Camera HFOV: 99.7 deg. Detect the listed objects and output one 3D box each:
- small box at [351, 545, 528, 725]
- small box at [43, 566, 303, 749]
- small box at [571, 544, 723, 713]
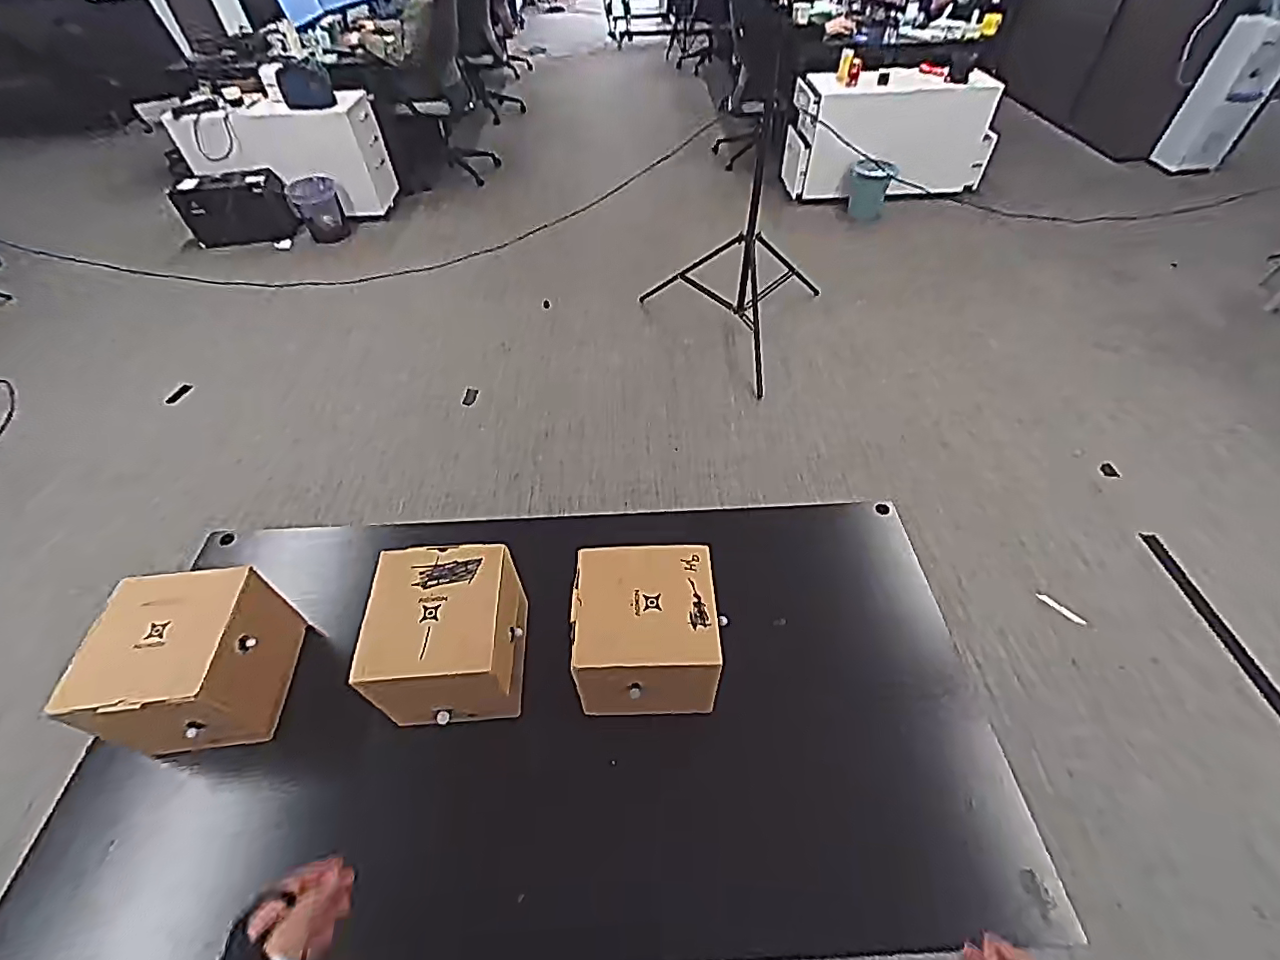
[{"bbox_3d":[-0.249,0.208,0.723,0.168,0.176,0.179,-4,50,-2],"label":"small box"},{"bbox_3d":[-0.580,0.237,0.708,0.168,0.176,0.179,-5,49,-4],"label":"small box"},{"bbox_3d":[0.011,0.202,0.722,0.179,0.176,0.168,-2,49,1],"label":"small box"}]
